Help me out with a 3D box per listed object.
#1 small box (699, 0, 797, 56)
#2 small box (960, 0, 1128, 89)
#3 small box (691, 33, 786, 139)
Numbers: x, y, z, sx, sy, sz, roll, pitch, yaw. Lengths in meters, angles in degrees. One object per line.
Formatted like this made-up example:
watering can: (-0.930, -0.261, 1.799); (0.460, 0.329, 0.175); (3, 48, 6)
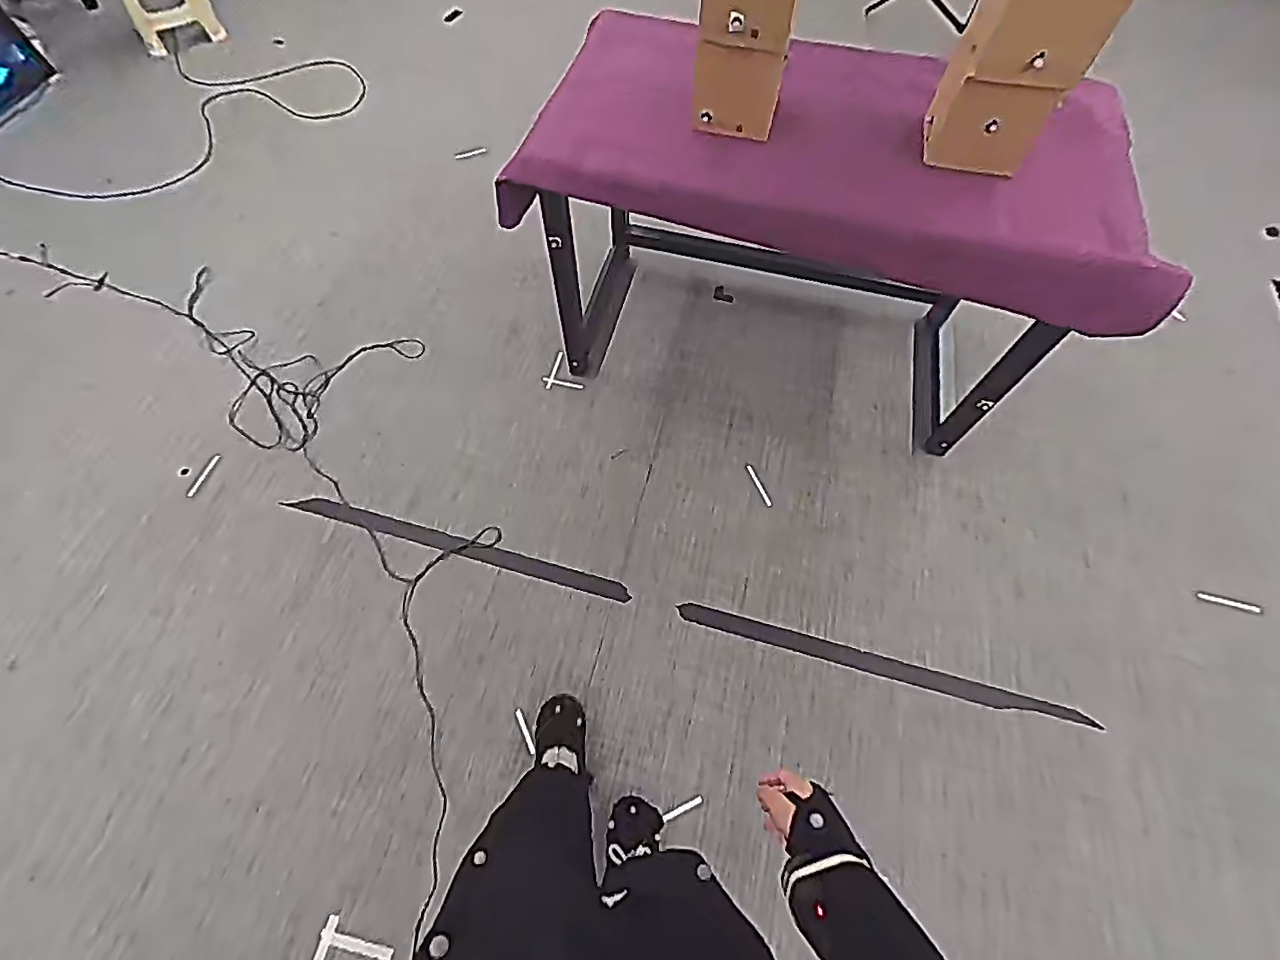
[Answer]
small box: (0.203, -0.898, 0.956); (0.168, 0.176, 0.179); (13, 65, 7)
small box: (0.673, -0.794, 0.906); (0.179, 0.176, 0.168); (9, 63, 4)
small box: (0.203, -0.836, 1.107); (0.168, 0.176, 0.179); (13, 63, 6)
